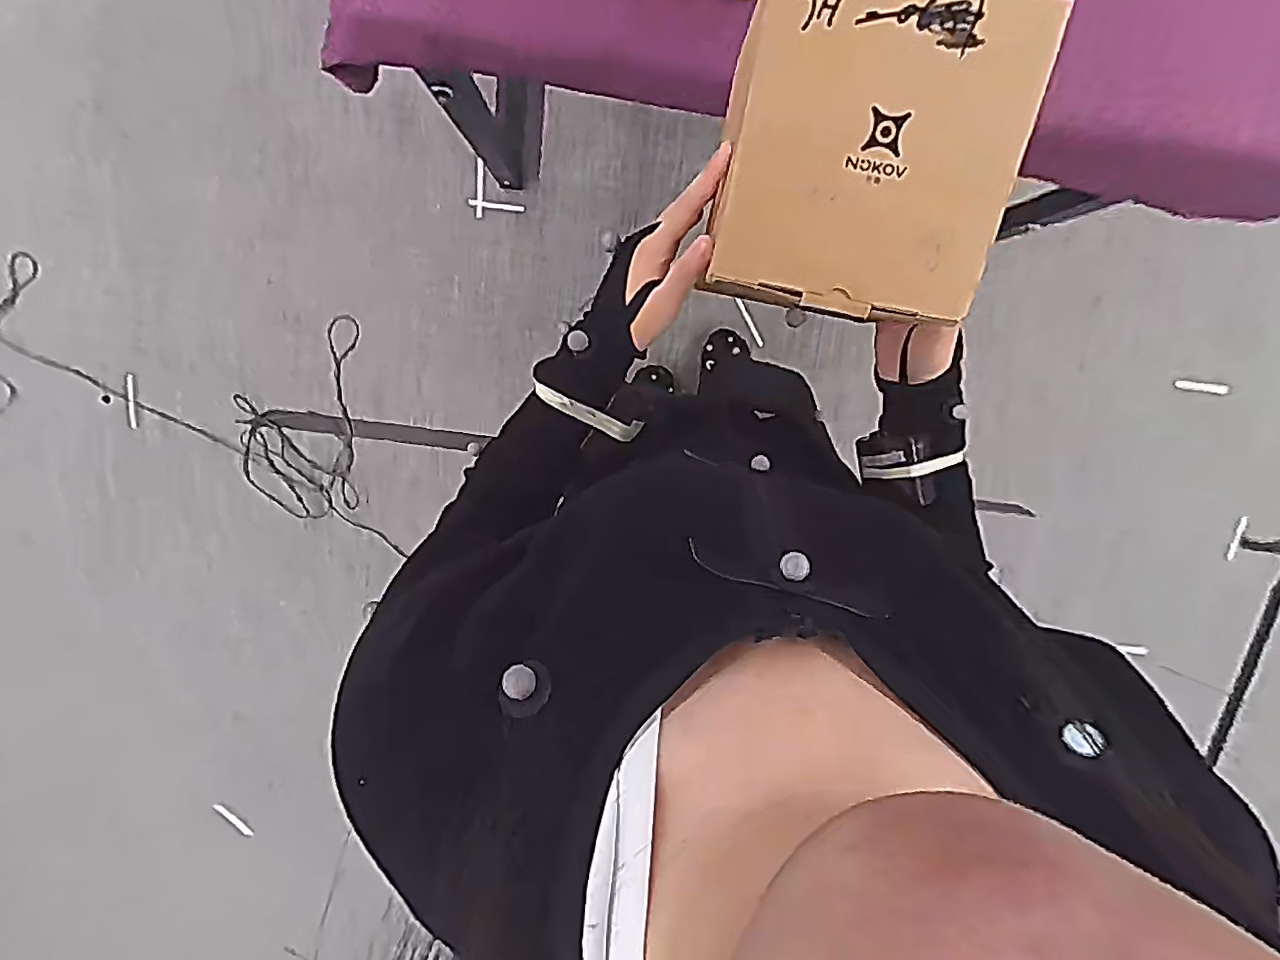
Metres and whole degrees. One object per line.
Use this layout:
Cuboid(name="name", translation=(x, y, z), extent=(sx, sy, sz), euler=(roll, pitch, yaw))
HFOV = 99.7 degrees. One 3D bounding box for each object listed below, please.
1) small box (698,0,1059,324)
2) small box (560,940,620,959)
Cuboid(name="small box", translation=(0.141, -0.222, 0.399), extent=(0.168, 0.176, 0.179), euler=(10, 108, -2))
Cuboid(name="small box", translation=(-0.138, 1.380, 1.436), extent=(0.168, 0.176, 0.179), euler=(4, 102, -3))
